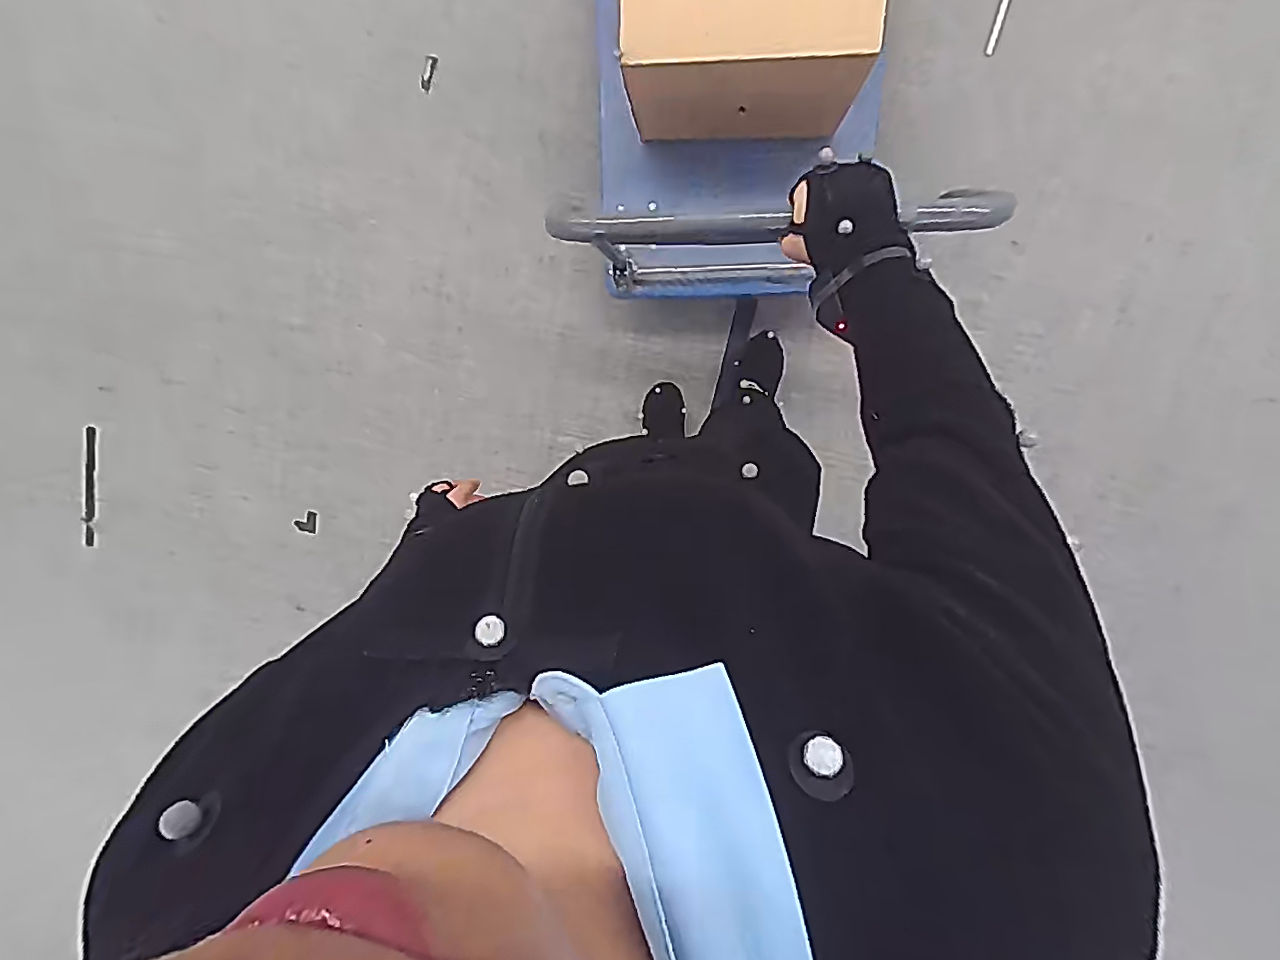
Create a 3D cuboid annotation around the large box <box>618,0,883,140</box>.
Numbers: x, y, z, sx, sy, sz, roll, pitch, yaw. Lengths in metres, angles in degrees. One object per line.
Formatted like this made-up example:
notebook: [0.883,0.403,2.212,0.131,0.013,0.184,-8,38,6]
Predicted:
large box: [0.183,-0.830,0.949,0.408,0.320,0.320,2,101,7]
